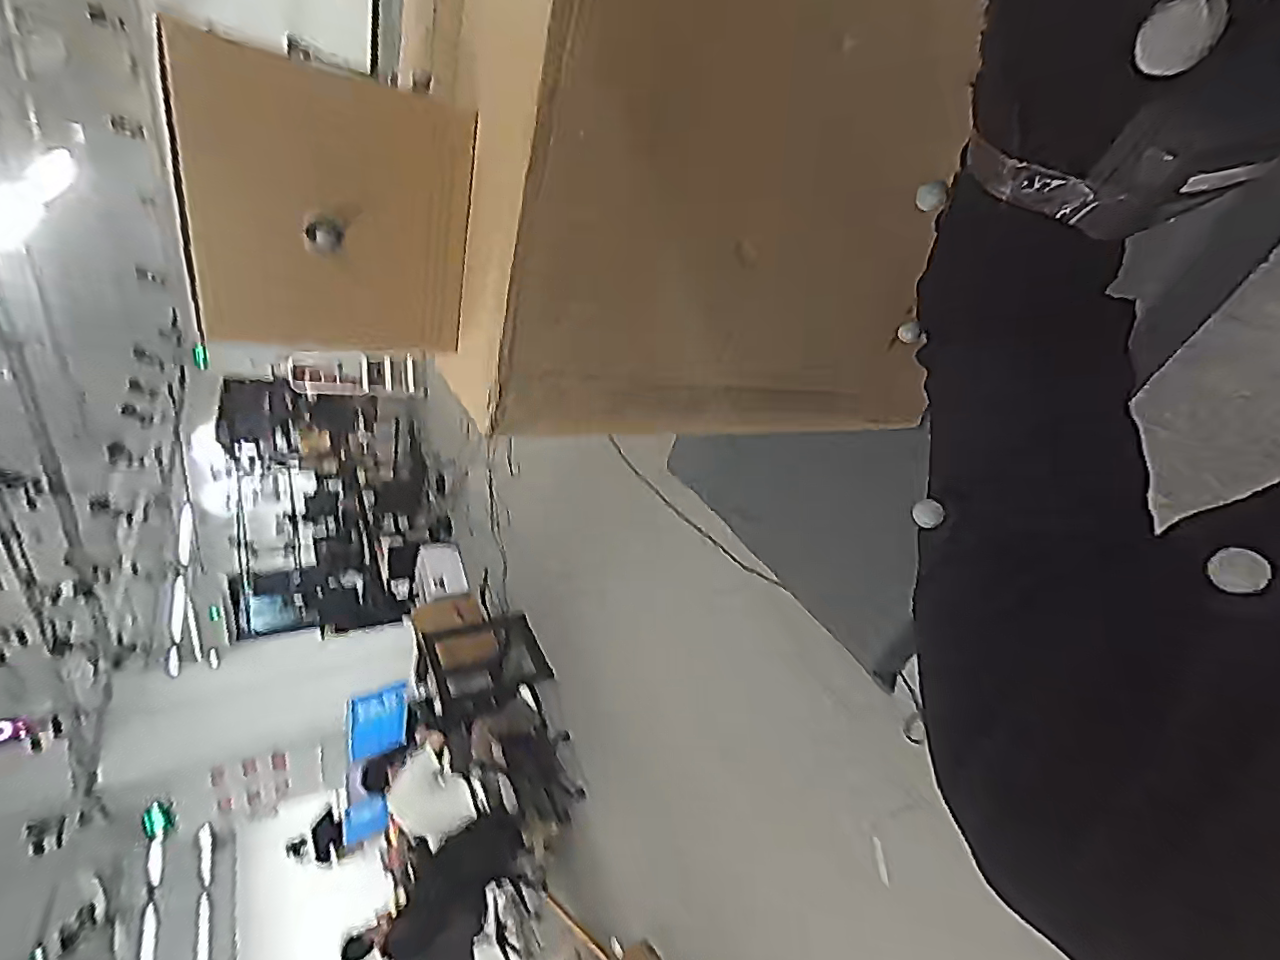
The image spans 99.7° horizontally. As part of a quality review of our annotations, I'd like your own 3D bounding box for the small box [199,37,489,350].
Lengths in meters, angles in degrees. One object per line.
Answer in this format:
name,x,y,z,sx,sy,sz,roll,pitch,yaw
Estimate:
small box,-0.229,-0.214,0.430,0.168,0.176,0.179,44,131,43
